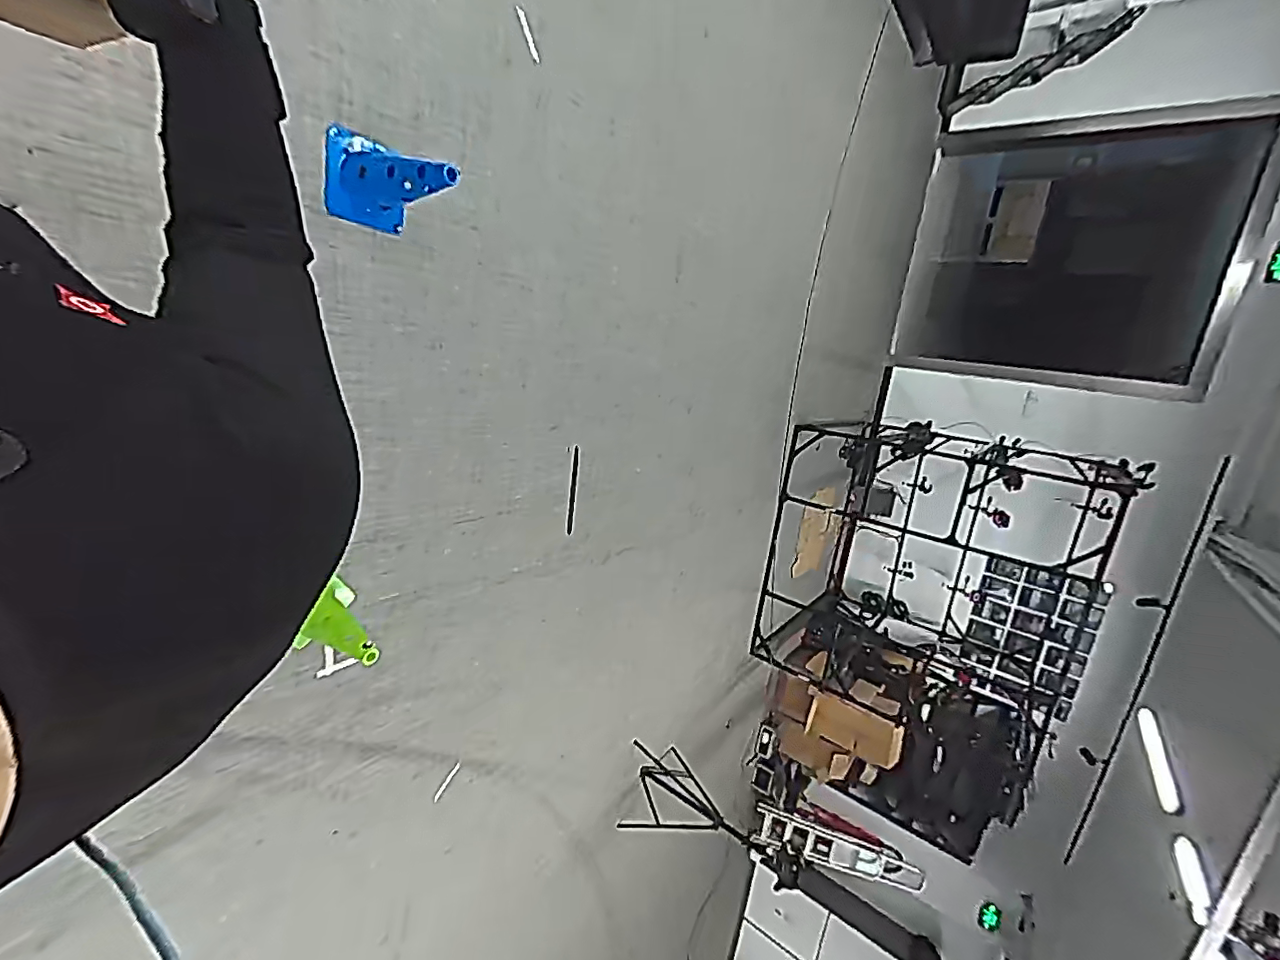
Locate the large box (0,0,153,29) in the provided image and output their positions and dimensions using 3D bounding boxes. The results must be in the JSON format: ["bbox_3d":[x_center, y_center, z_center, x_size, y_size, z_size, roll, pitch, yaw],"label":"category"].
[{"bbox_3d":[-0.533,-0.503,0.253,0.408,0.320,0.320,-10,121,-52],"label":"large box"}]

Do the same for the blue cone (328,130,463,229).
[{"bbox_3d":[-0.560,-0.715,1.281,0.192,0.380,0.193,-5,109,-55],"label":"blue cone"}]
